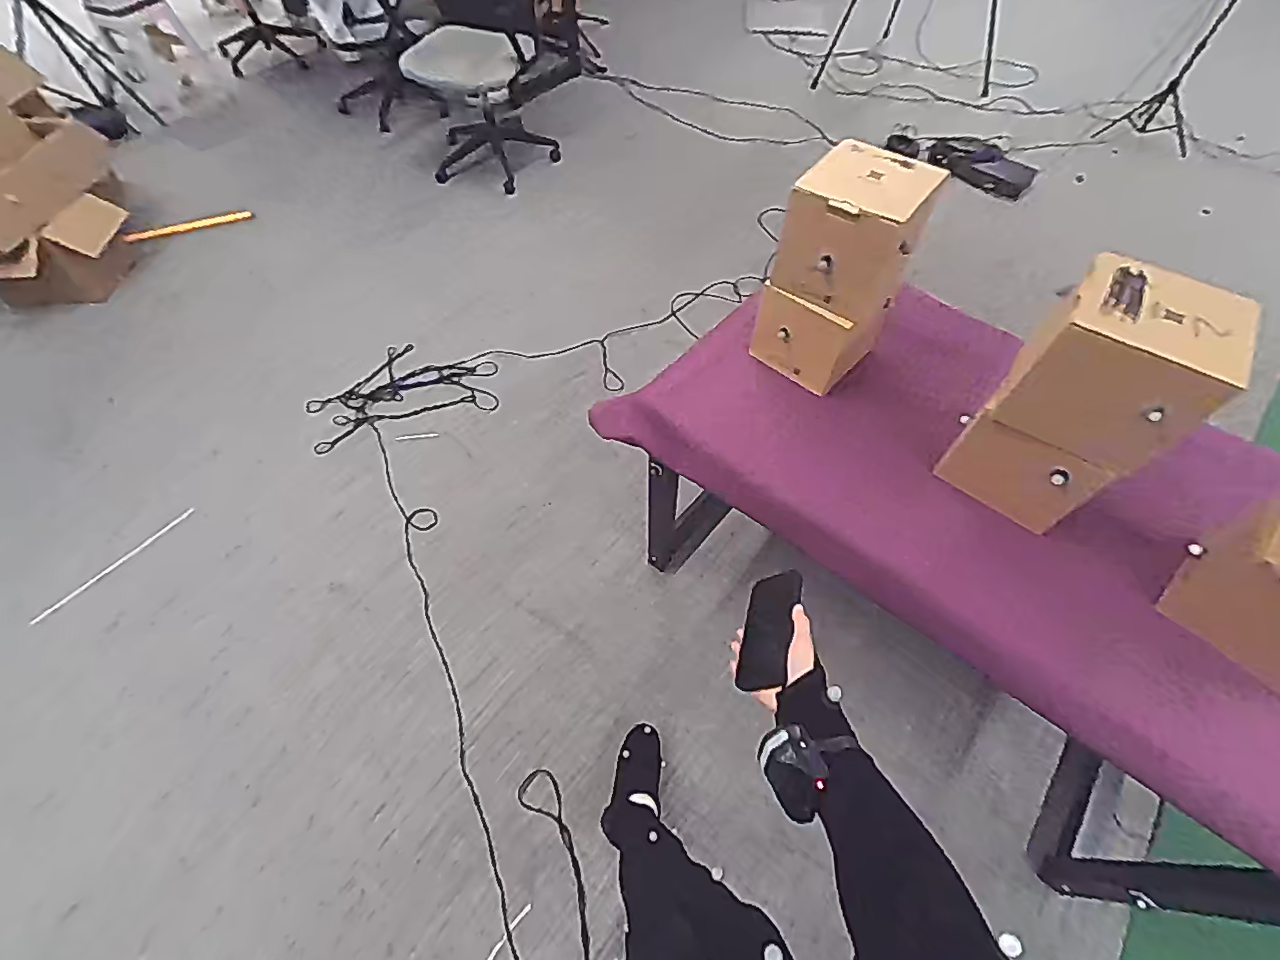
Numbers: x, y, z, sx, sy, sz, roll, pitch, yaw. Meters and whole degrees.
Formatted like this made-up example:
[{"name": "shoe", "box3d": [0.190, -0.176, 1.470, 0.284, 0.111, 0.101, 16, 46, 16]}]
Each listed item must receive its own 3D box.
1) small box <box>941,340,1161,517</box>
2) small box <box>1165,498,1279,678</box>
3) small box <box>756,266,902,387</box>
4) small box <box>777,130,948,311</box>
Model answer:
[{"name": "small box", "box3d": [0.600, -0.068, 0.810, 0.179, 0.176, 0.168, 37, 65, 22]}, {"name": "small box", "box3d": [0.841, 0.131, 0.677, 0.168, 0.176, 0.179, -36, 63, -21]}, {"name": "small box", "box3d": [0.325, -0.299, 0.967, 0.168, 0.176, 0.179, 38, 65, 22]}, {"name": "small box", "box3d": [0.328, -0.394, 0.833, 0.168, 0.176, 0.179, 33, 64, 20]}]
